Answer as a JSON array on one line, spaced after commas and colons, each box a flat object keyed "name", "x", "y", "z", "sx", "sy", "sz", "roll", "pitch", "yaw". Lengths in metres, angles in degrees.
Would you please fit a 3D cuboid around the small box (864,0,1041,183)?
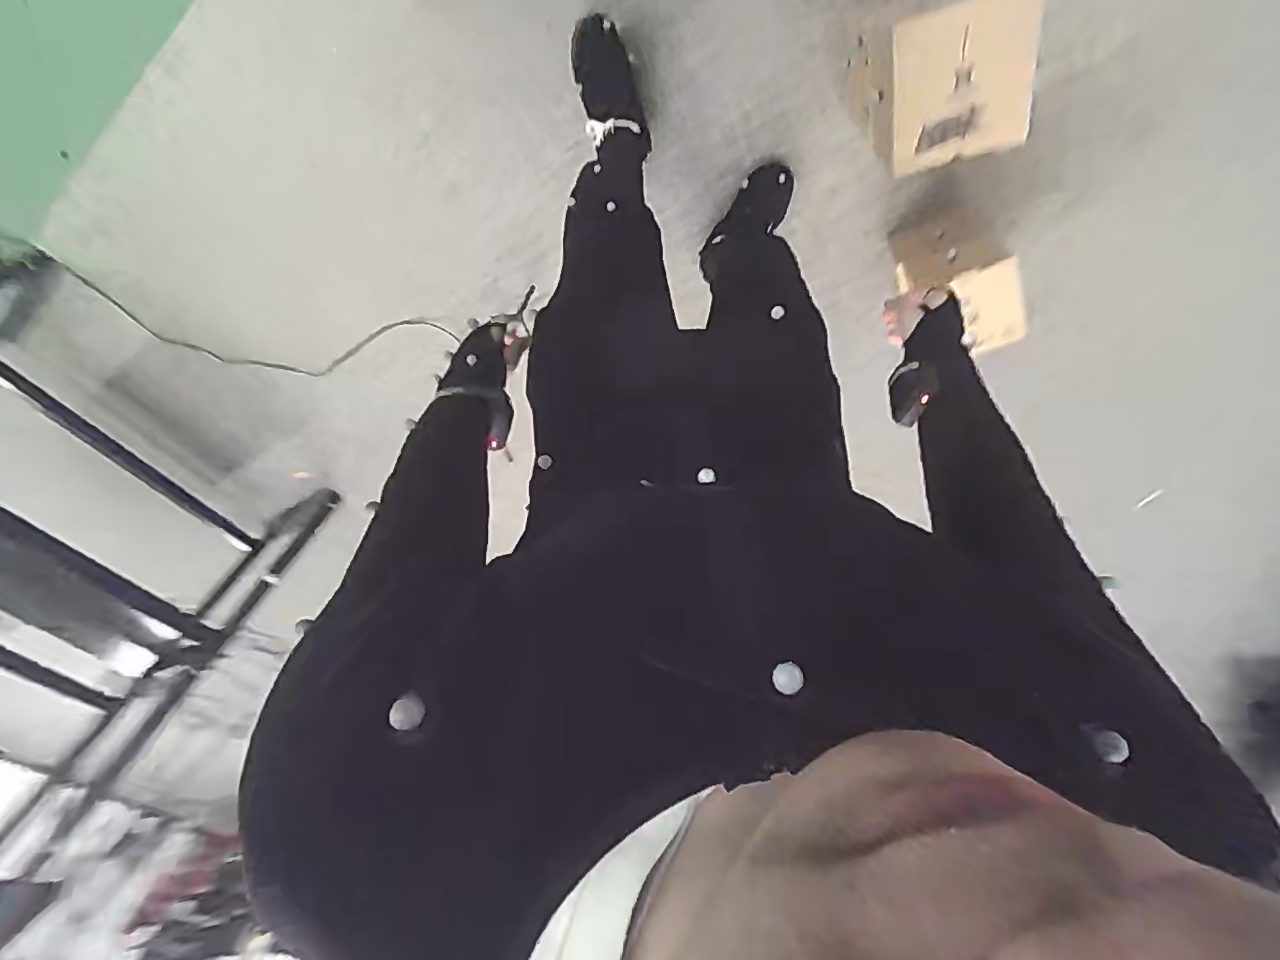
[{"name": "small box", "x": 0.409, "y": -0.540, "z": 0.742, "sx": 0.168, "sy": 0.176, "sz": 0.179, "roll": -5, "pitch": 130, "yaw": 16}]

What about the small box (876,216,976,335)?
[{"name": "small box", "x": 0.644, "y": -0.461, "z": 1.218, "sx": 0.179, "sy": 0.176, "sz": 0.168, "roll": -17, "pitch": 126, "yaw": 25}]

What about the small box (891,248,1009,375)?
[{"name": "small box", "x": 0.624, "y": -0.349, "z": 1.099, "sx": 0.168, "sy": 0.176, "sz": 0.179, "roll": -15, "pitch": 126, "yaw": 24}]
